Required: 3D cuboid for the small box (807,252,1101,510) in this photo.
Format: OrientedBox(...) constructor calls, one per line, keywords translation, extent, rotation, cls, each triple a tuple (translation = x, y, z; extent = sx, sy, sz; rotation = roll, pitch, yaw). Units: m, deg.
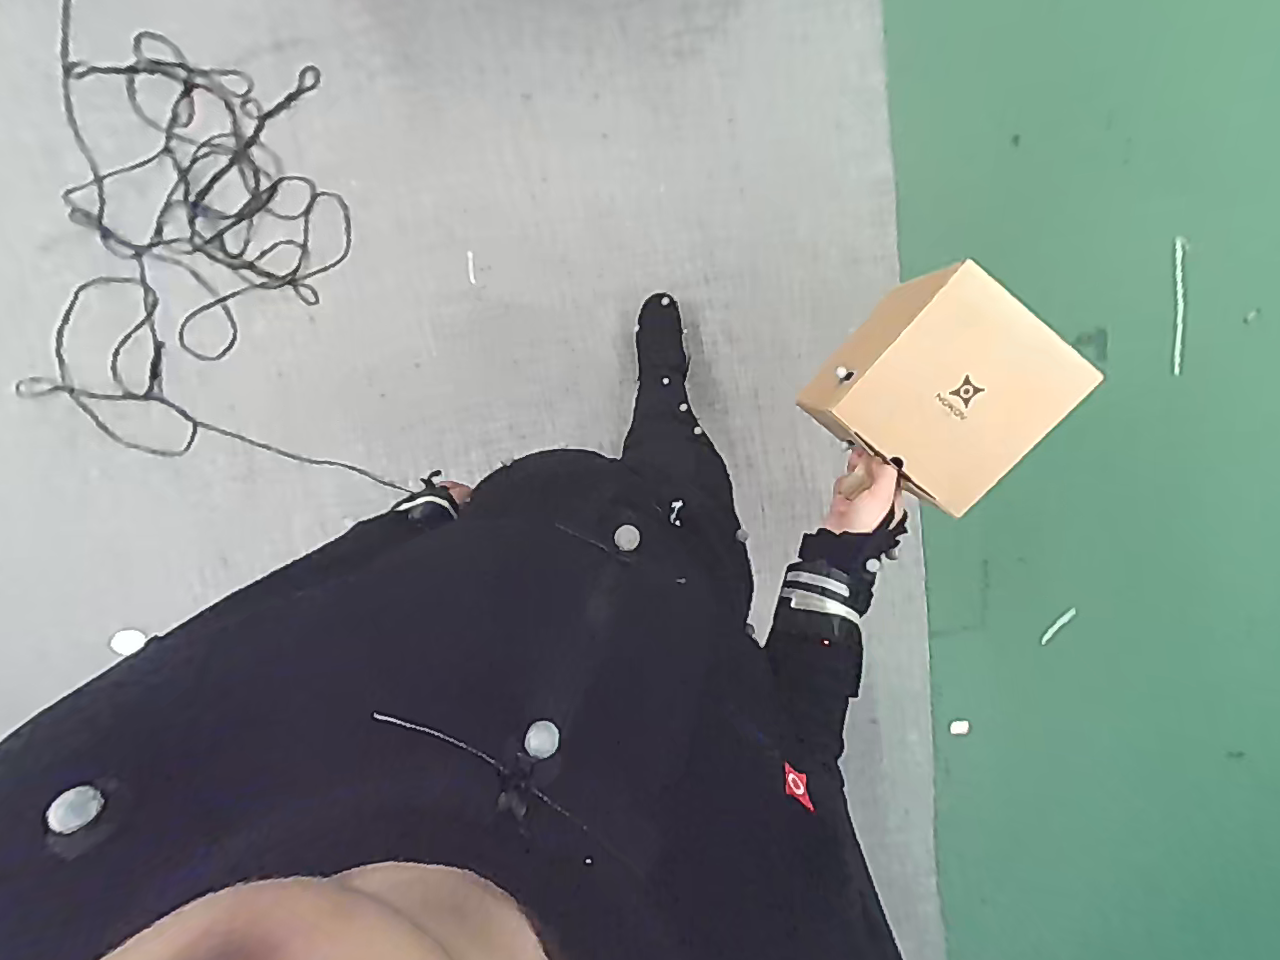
OrientedBox(translation=(0.301, -0.102, 0.568), extent=(0.168, 0.176, 0.179), rotation=(37, 103, -3), cls="small box")
